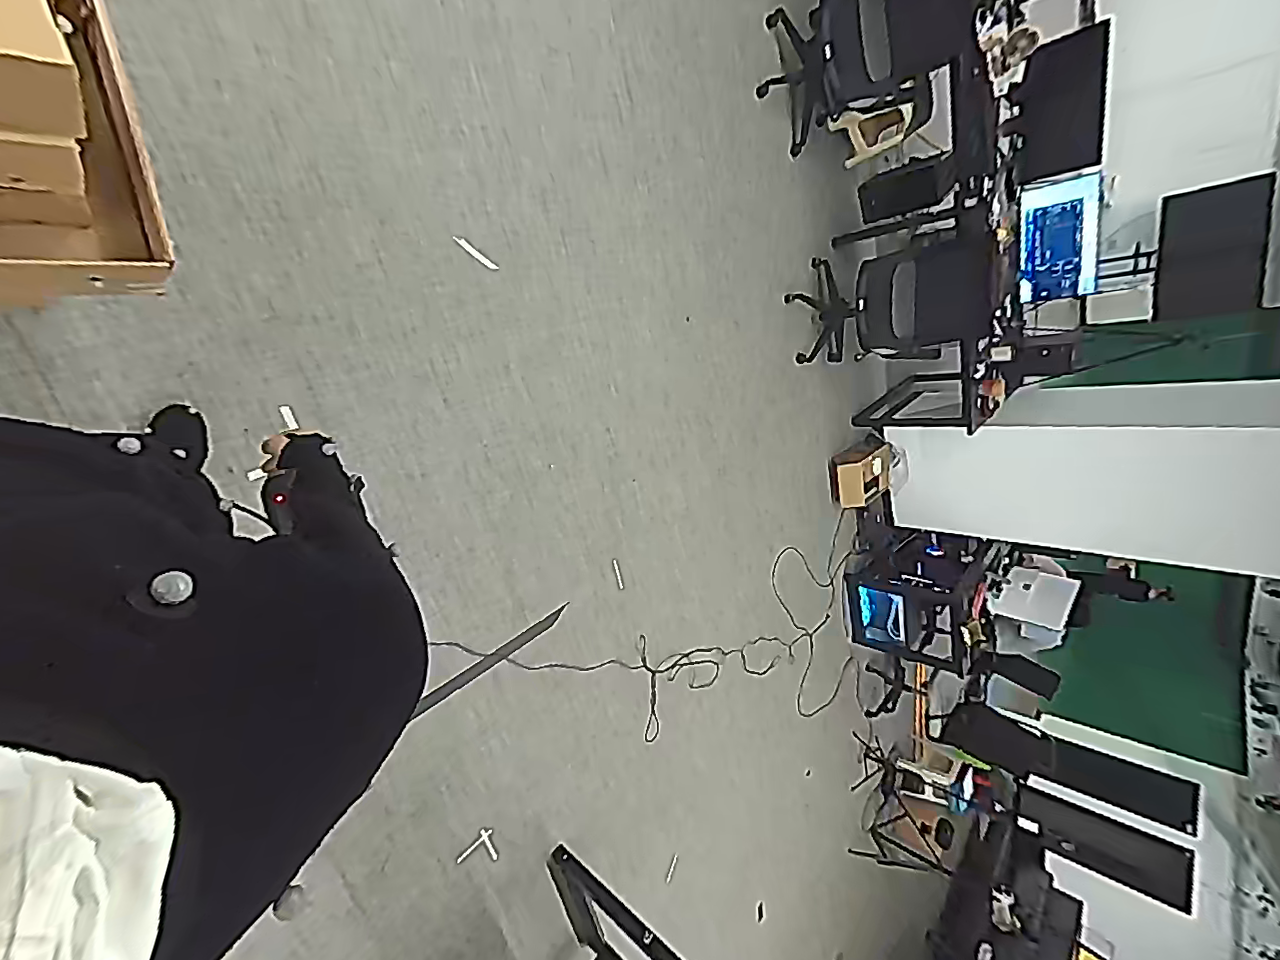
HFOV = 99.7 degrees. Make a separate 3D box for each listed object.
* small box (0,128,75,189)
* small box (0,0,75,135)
[{"bbox_3d":[-0.784,-0.450,0.612,0.168,0.176,0.179,-21,107,-41],"label":"small box"},{"bbox_3d":[-0.669,-0.443,0.495,0.179,0.176,0.168,-23,109,-41],"label":"small box"}]
